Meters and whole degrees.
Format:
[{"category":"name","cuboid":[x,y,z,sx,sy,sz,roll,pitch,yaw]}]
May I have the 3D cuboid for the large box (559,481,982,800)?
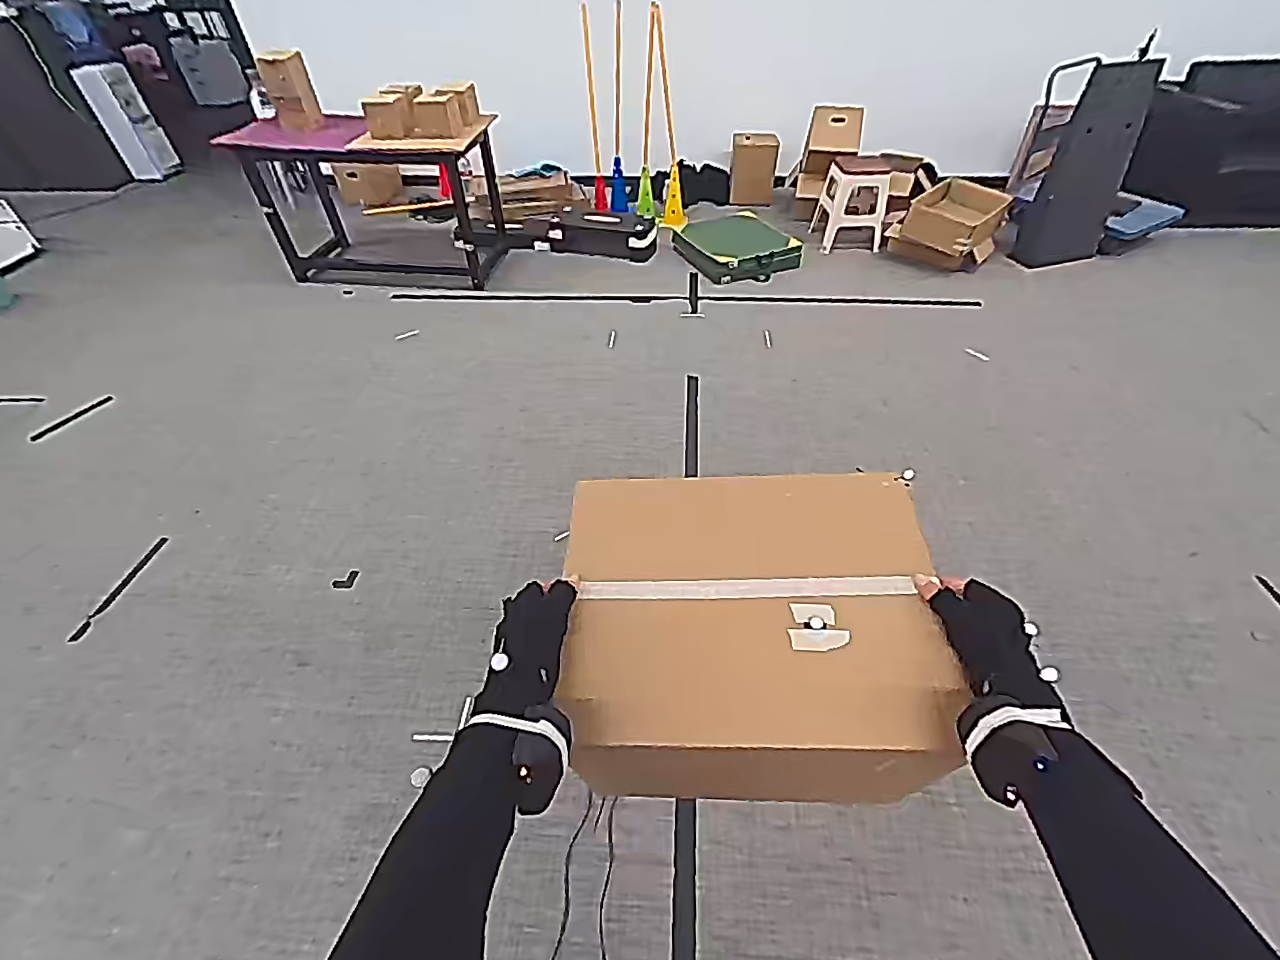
[{"category":"large box","cuboid":[0.130,0.221,0.713,0.408,0.320,0.320,-2,52,5]}]
